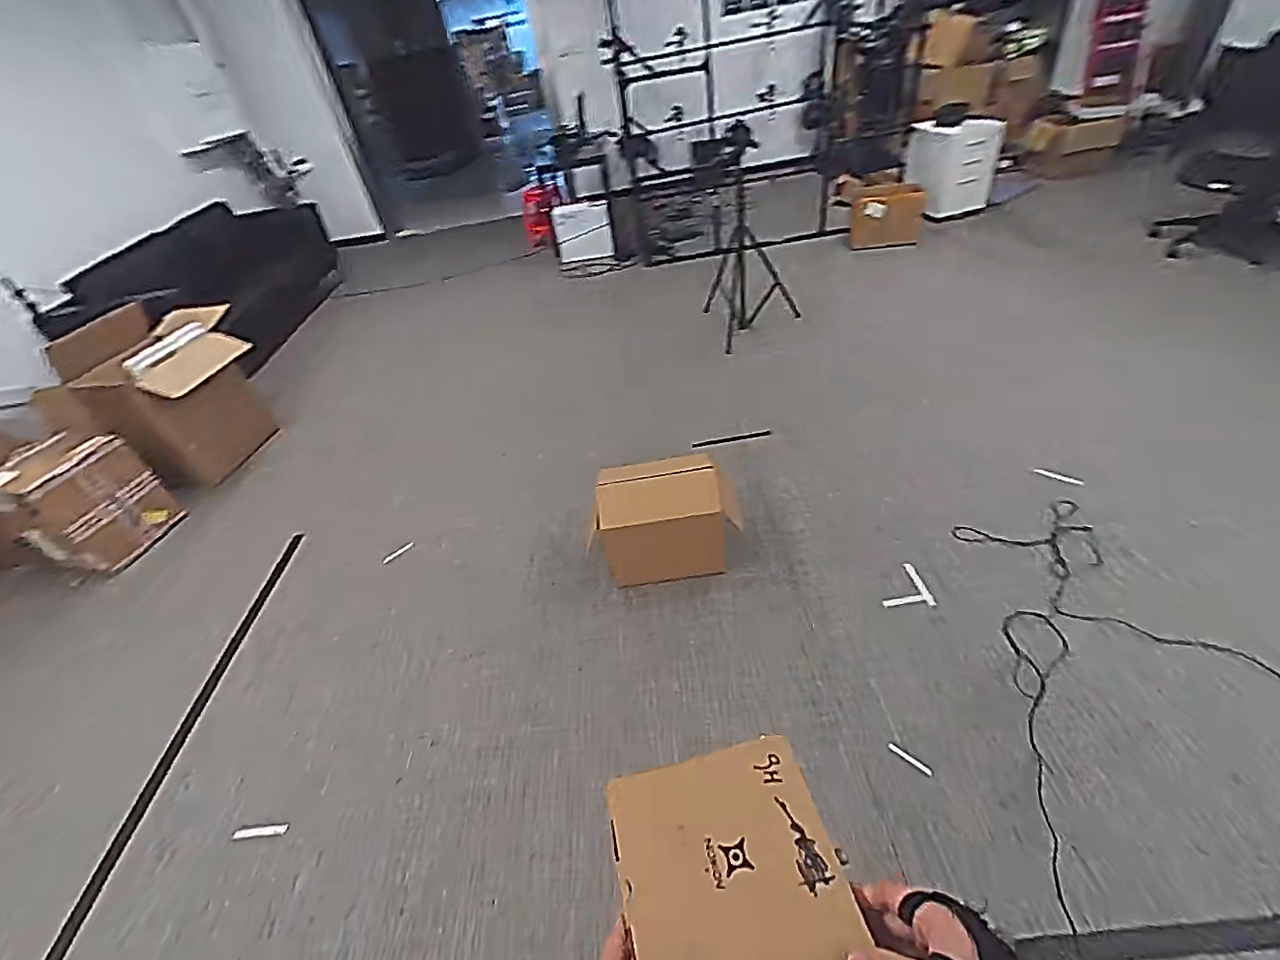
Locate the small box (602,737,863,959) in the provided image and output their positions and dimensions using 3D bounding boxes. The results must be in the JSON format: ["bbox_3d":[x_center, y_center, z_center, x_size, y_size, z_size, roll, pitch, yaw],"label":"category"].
[{"bbox_3d":[0.074,0.373,0.496,0.179,0.176,0.168,-13,41,-5],"label":"small box"}]
